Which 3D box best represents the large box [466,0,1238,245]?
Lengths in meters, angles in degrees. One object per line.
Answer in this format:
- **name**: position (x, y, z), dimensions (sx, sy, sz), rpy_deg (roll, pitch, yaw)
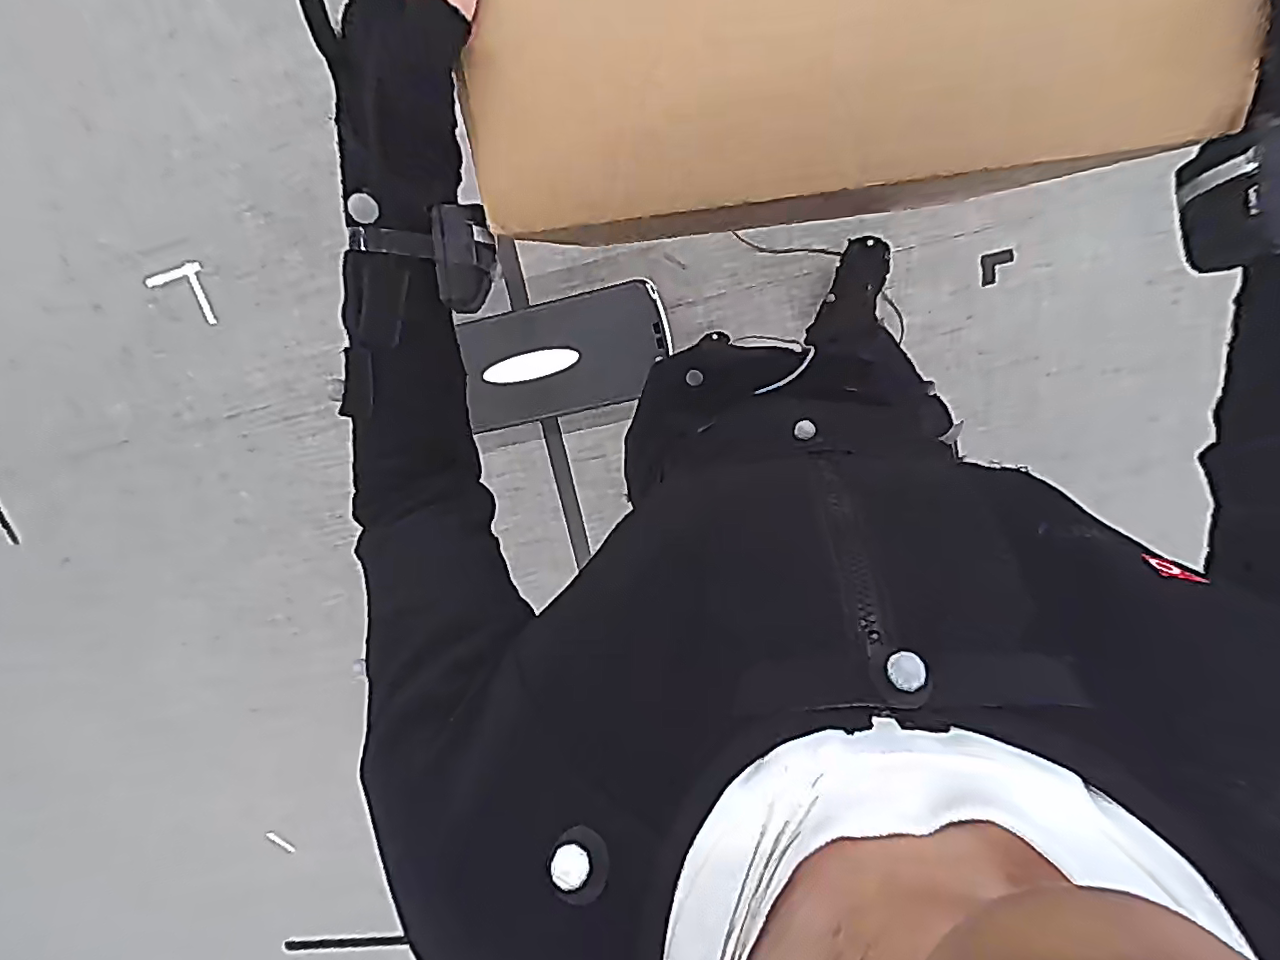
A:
- **large box**: position (0.104, -0.373, 0.401), dimensions (0.408, 0.320, 0.320), rpy_deg (-5, 112, 7)
